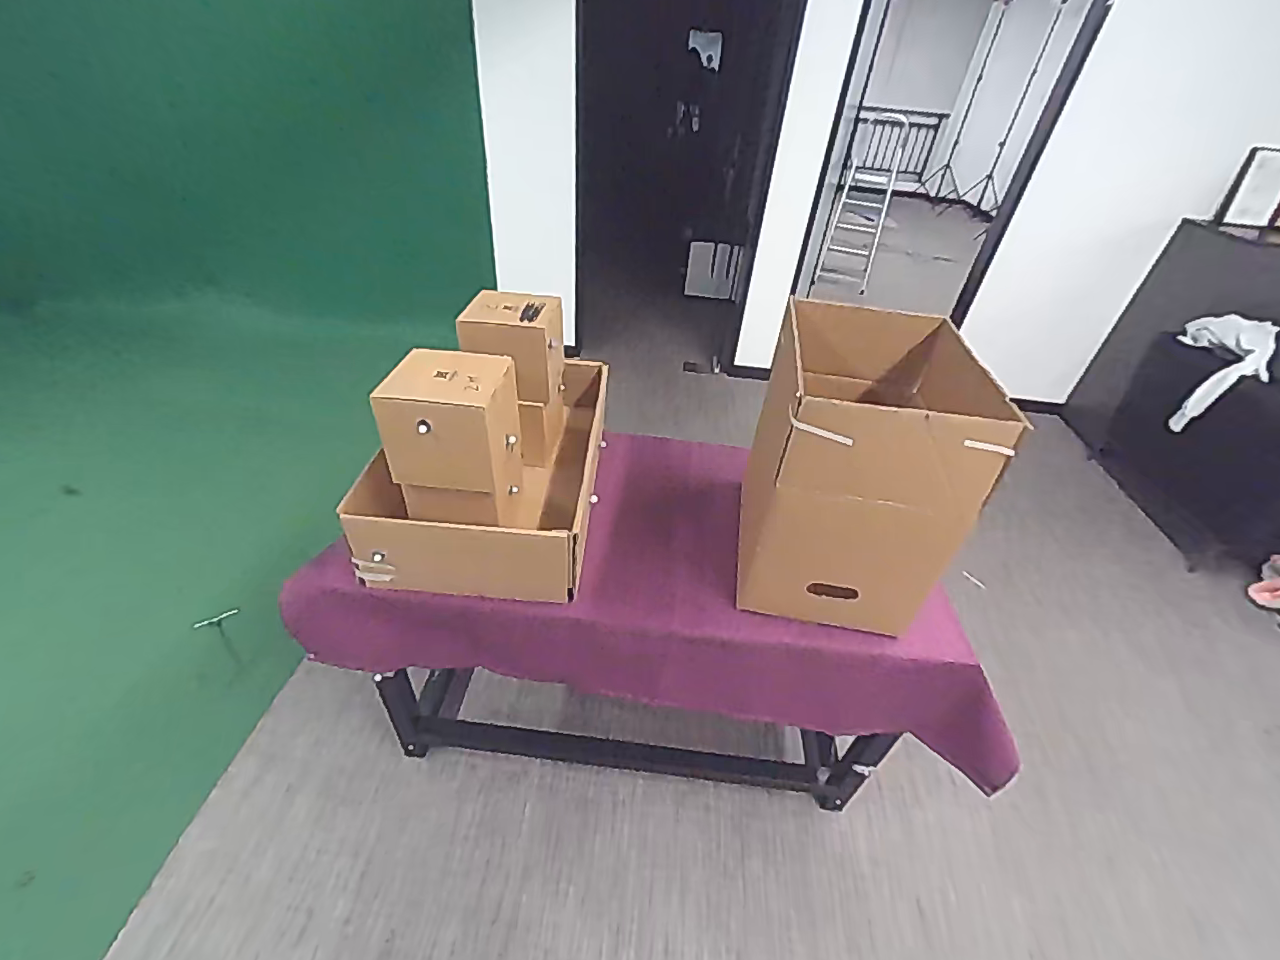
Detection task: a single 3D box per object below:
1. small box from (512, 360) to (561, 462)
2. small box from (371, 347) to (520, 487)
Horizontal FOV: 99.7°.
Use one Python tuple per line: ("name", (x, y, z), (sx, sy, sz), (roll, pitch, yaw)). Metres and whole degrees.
("small box", (-0.277, -0.159, 1.241), (0.168, 0.176, 0.179), (6, 40, 2))
("small box", (-0.311, -0.104, 0.907), (0.179, 0.176, 0.168), (6, 40, 2))
